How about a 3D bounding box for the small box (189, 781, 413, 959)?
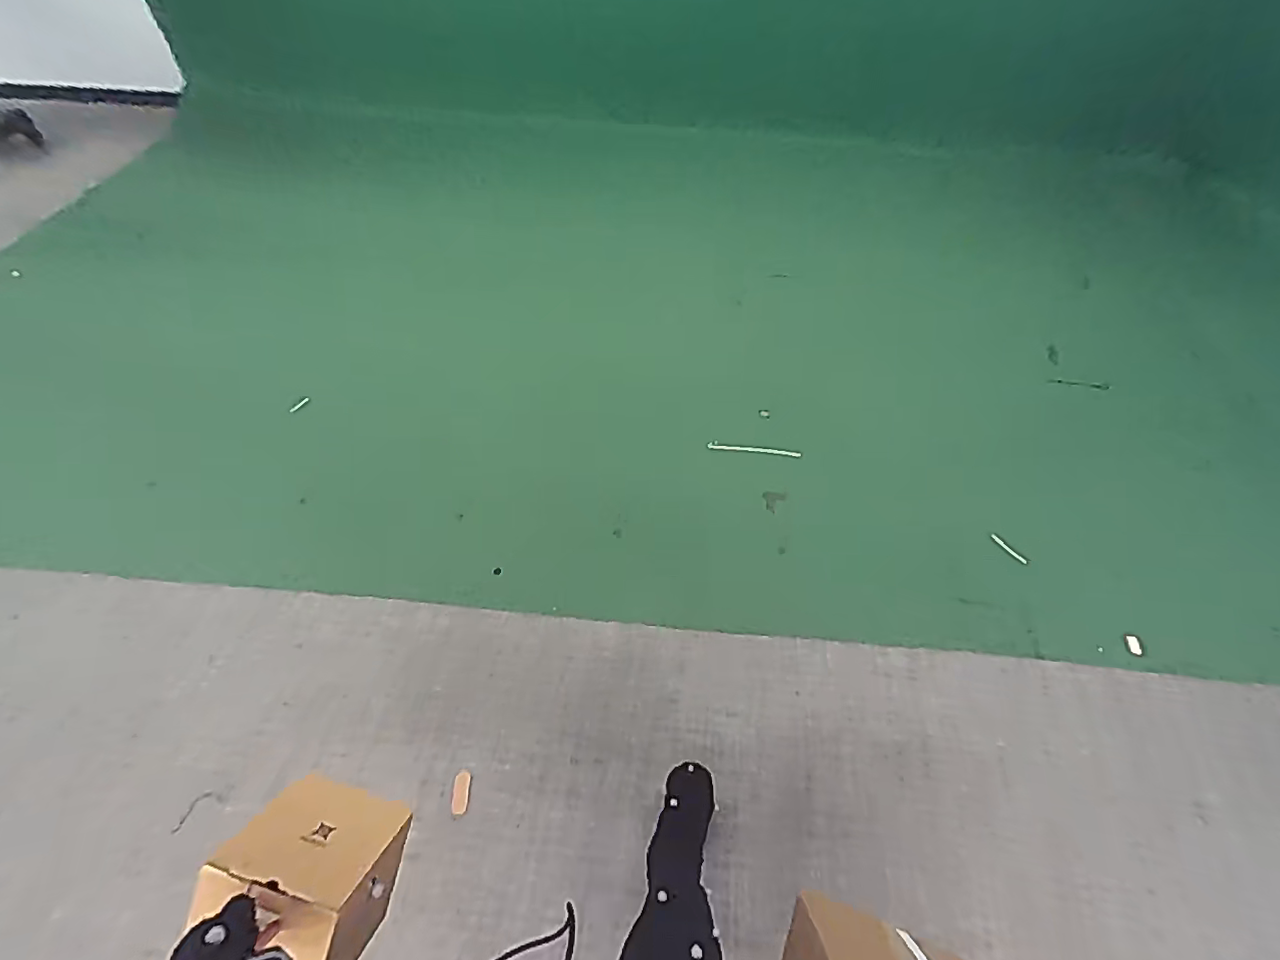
[{"bbox_3d":[-0.424,0.532,0.685,0.168,0.179,0.176,16,93,3],"label":"small box"}]
